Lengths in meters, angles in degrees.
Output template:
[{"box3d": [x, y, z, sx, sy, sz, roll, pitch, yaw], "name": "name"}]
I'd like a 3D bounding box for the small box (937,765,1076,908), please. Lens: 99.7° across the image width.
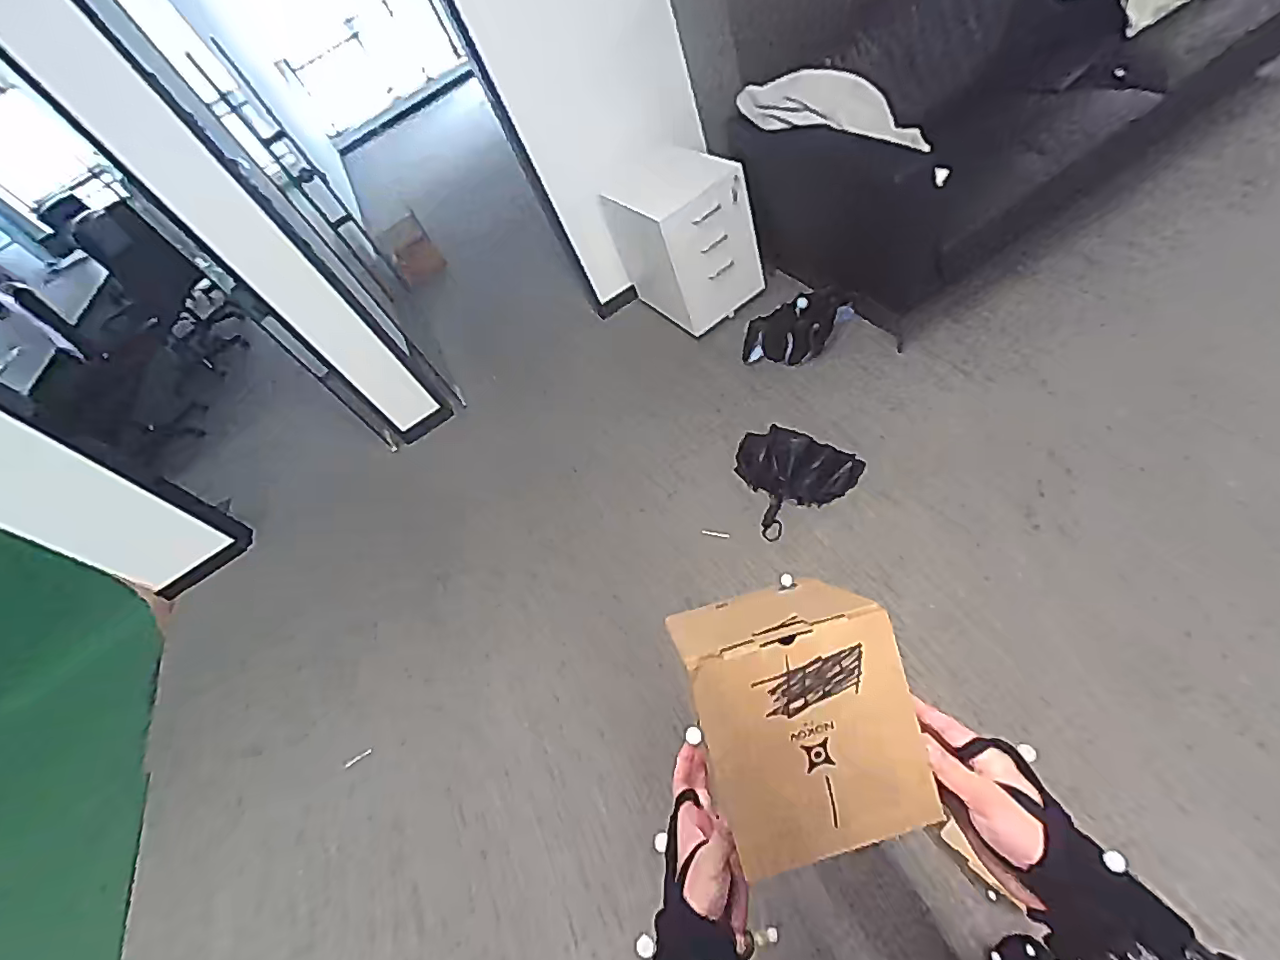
[{"box3d": [0.728, 0.721, 1.093, 0.179, 0.176, 0.168, -44, 50, -13], "name": "small box"}]
